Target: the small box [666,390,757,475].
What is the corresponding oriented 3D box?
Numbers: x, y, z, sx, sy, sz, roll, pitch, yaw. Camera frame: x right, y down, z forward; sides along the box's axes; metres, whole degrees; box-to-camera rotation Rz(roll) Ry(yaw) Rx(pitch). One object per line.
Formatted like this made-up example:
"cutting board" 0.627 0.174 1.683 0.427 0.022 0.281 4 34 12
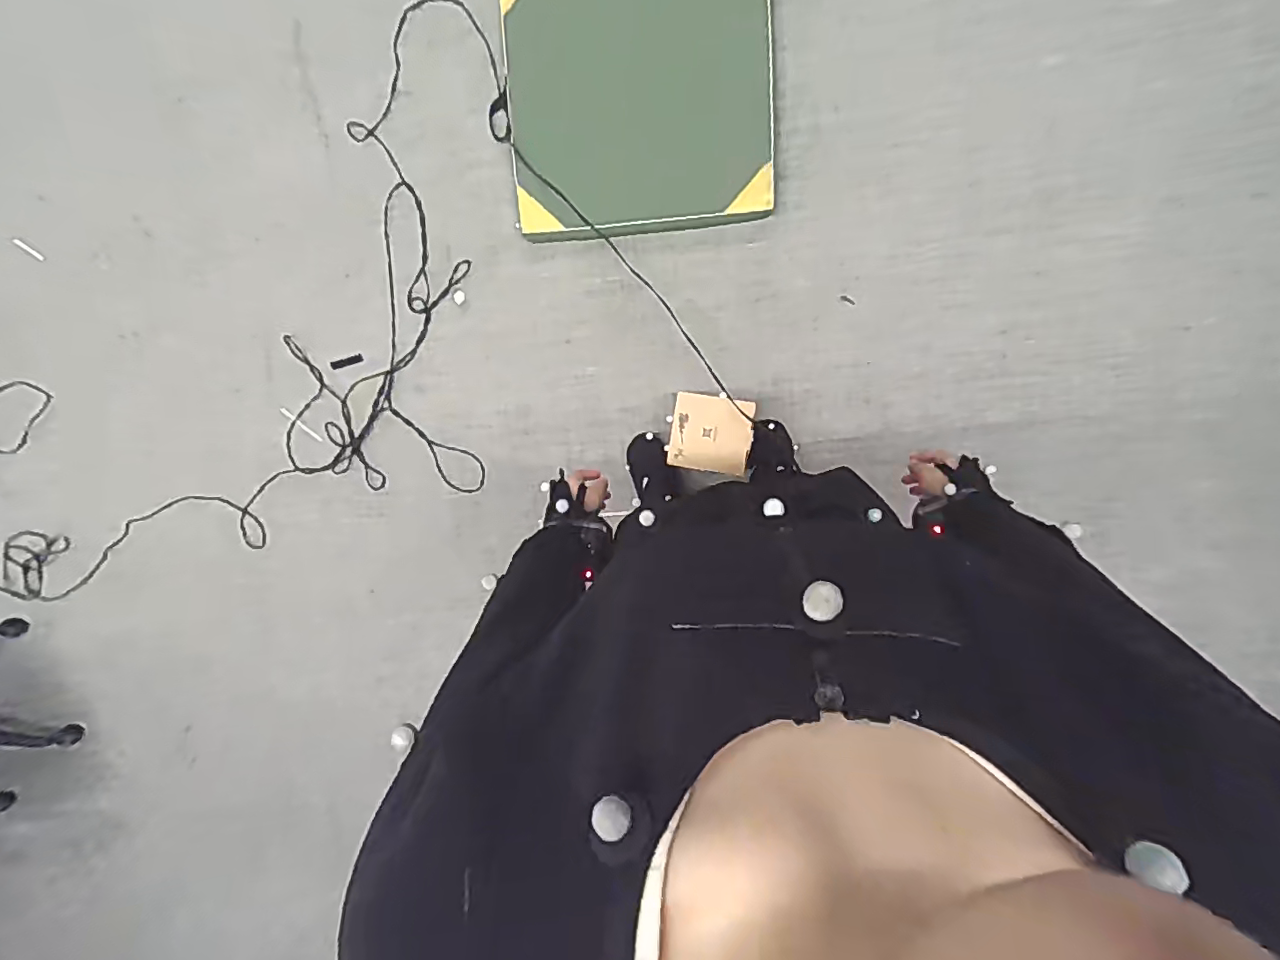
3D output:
"small box" 0.161 -0.114 1.259 0.179 0.176 0.168 9 98 4
